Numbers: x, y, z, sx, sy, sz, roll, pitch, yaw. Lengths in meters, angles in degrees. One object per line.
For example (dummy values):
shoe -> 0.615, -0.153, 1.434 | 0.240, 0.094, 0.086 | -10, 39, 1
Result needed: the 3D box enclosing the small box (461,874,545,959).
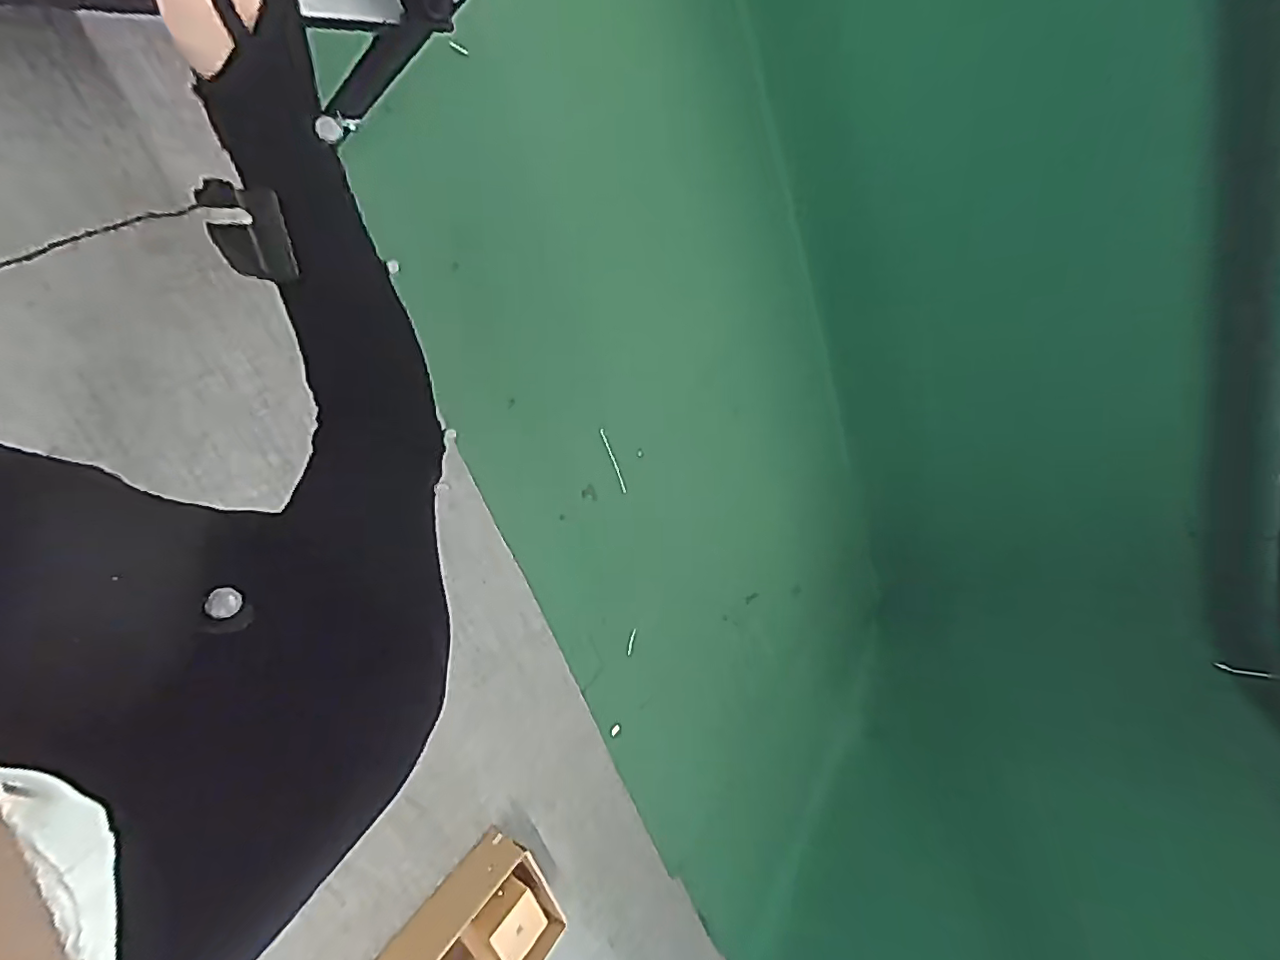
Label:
small box -> -0.447, 1.426, 1.752 | 0.168, 0.176, 0.179 | -37, 116, -43
